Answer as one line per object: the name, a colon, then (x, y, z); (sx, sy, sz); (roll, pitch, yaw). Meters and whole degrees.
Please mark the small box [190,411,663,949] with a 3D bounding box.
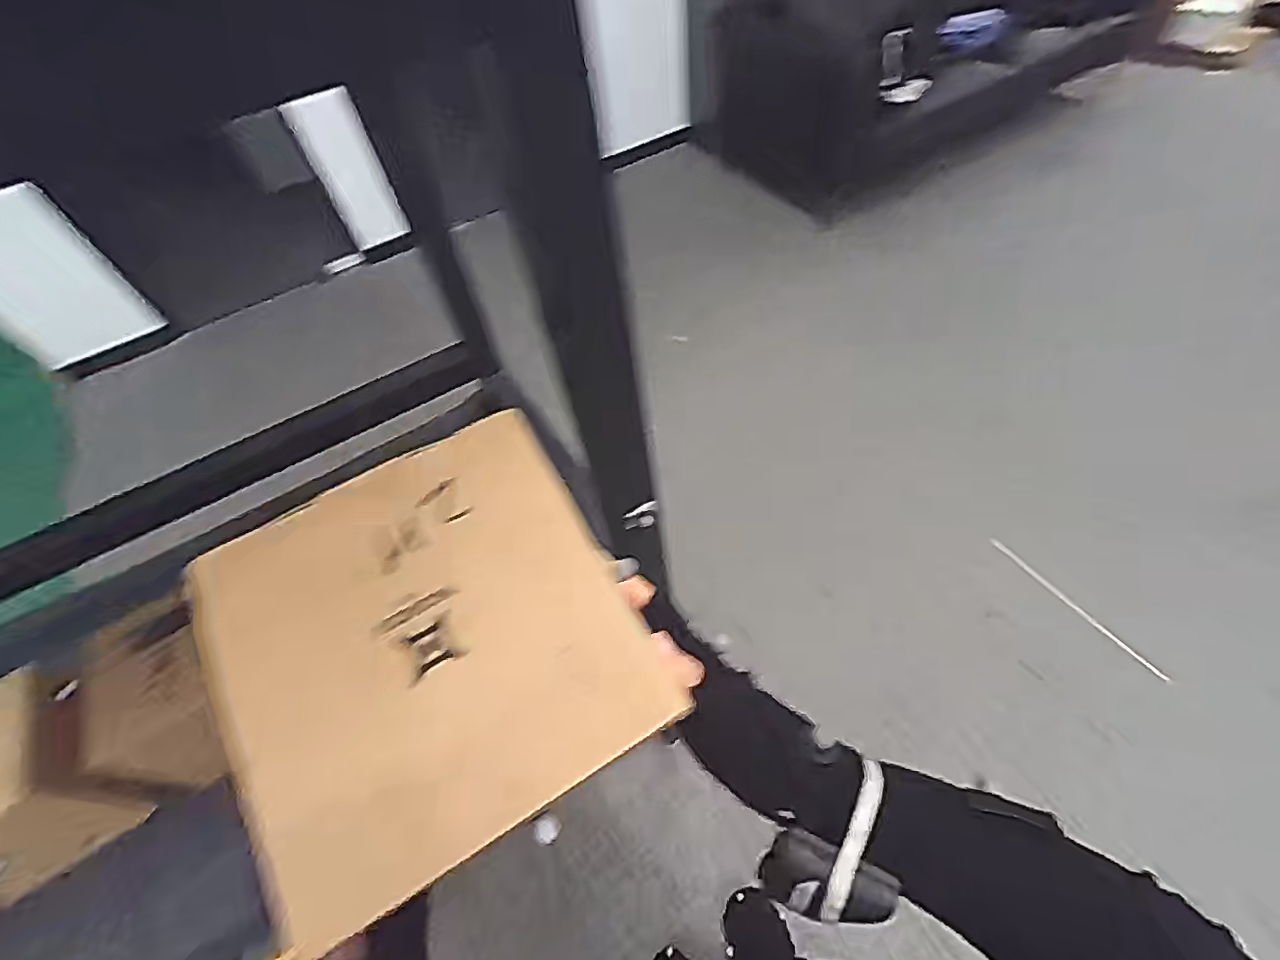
small box: (-0.099, 0.099, 0.312); (0.168, 0.176, 0.179); (-28, 67, -12)
